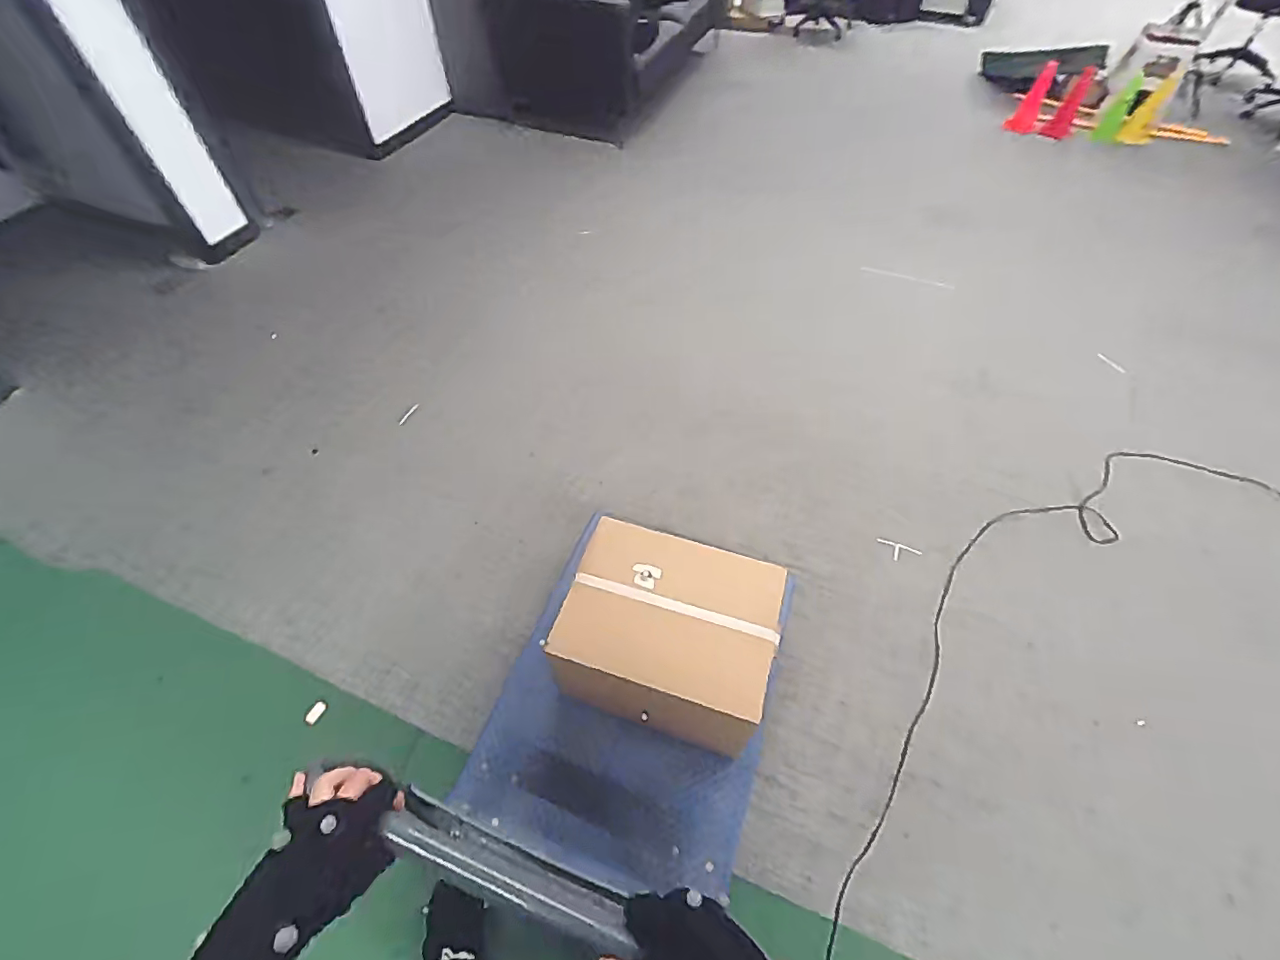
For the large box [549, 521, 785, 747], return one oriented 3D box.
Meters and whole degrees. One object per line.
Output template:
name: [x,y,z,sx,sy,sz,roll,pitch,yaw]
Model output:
large box: [0.068,0.335,1.165,0.408,0.320,0.320,13,54,11]
